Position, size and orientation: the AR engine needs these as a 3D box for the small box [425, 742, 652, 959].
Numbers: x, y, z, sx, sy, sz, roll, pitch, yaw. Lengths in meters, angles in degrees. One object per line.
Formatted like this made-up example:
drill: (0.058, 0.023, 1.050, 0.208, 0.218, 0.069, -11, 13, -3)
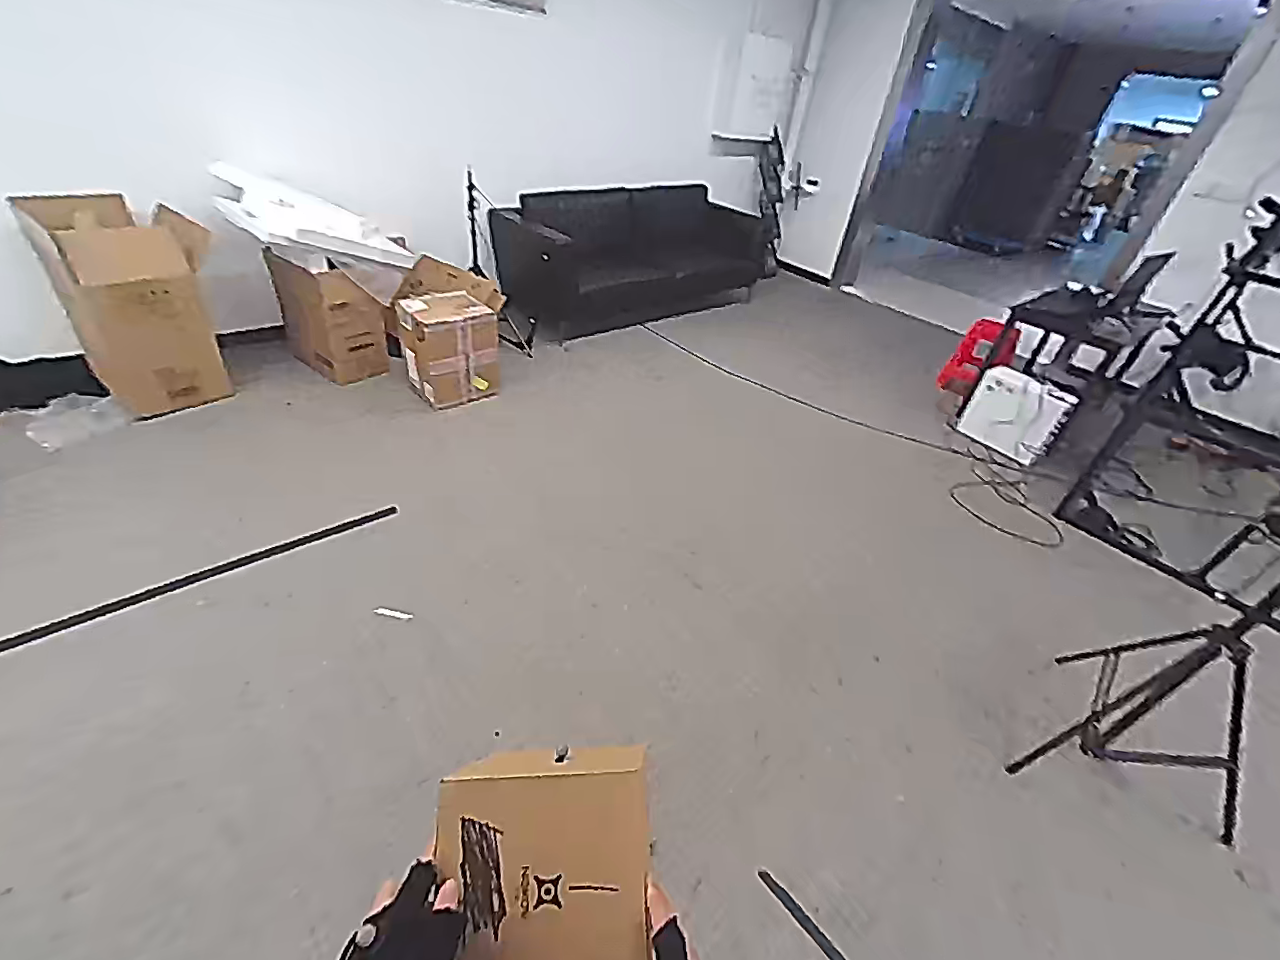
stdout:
small box: (-0.080, 0.350, 0.510, 0.179, 0.176, 0.168, -3, 70, 0)
